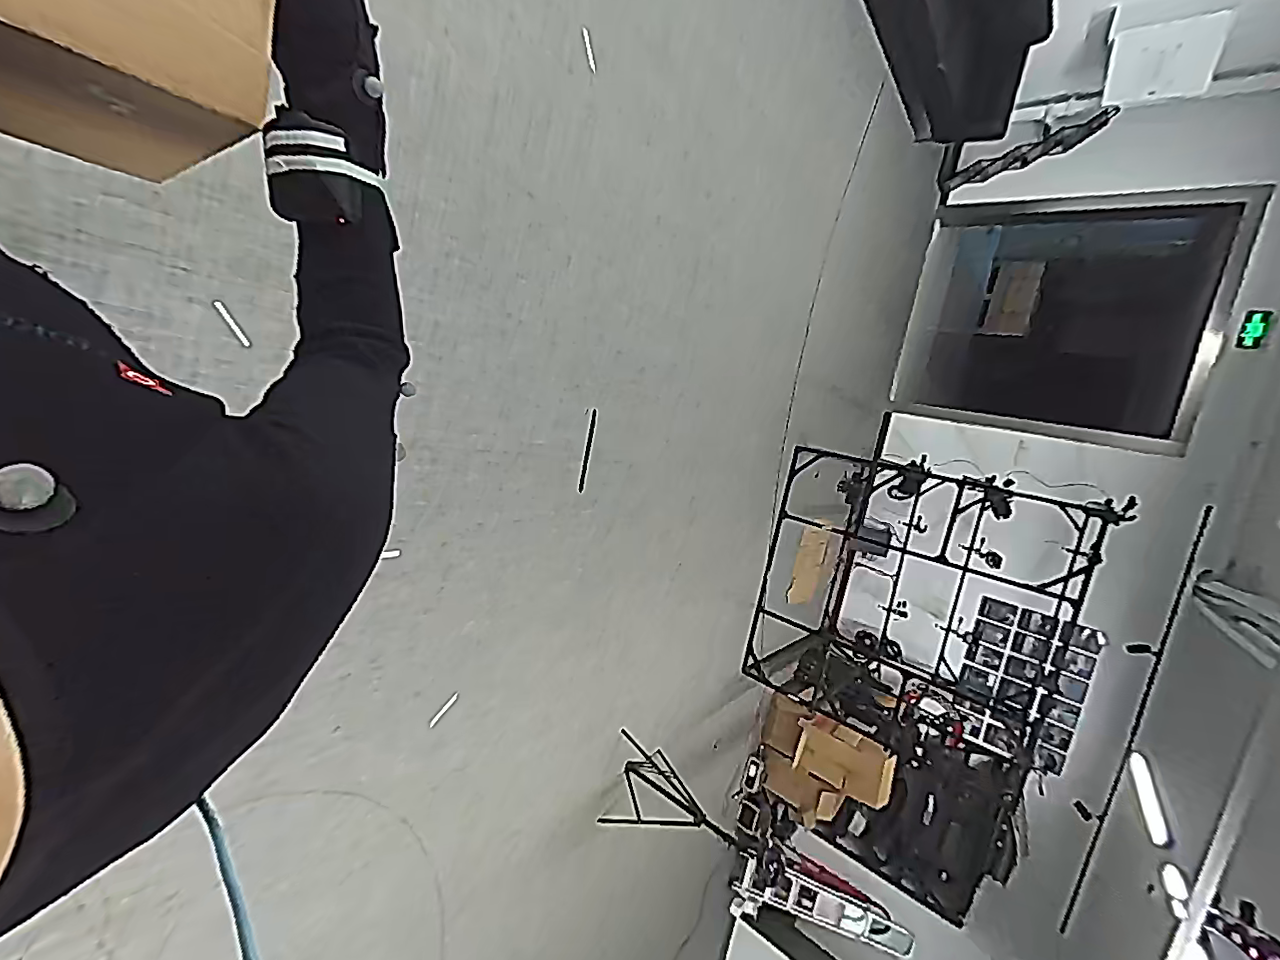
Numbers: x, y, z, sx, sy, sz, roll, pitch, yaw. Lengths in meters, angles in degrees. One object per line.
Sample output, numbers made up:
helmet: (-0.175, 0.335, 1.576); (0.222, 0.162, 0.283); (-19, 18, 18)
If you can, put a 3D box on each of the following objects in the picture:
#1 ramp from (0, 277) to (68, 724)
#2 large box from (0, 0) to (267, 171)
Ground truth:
ramp: (-1.394, 0.092, 0.946); (0.509, 0.206, 0.991); (-1, 105, -53)
large box: (-0.488, -0.433, 0.300); (0.408, 0.320, 0.320); (-1, 103, -53)
